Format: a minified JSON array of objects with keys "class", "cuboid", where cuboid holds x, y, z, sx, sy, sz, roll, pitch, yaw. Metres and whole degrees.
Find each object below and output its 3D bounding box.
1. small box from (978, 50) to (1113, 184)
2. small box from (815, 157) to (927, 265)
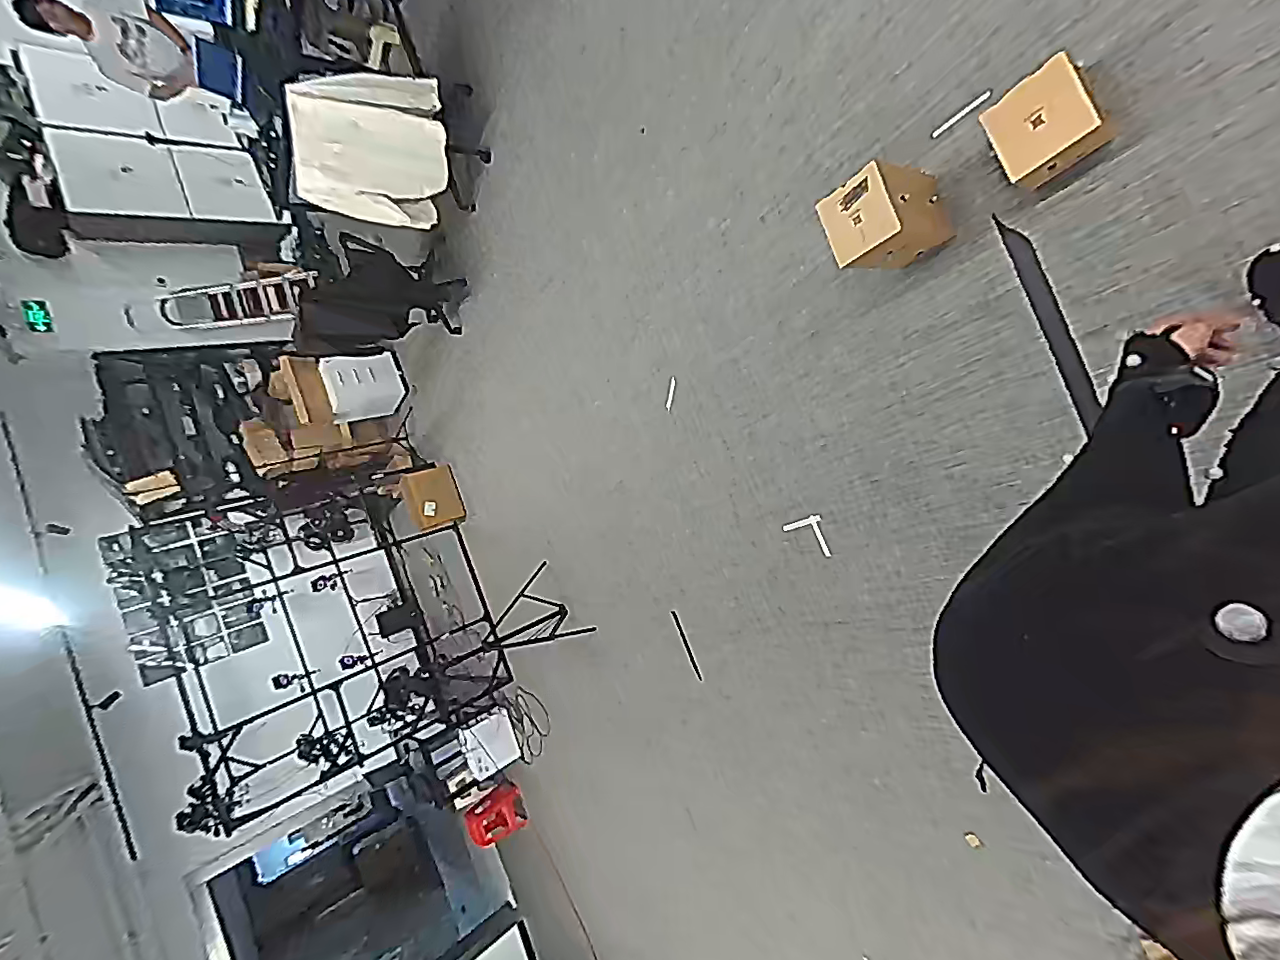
[{"class":"small box","cuboid":[0.882,-0.772,1.174,0.168,0.176,0.179,-29,81,50]},{"class":"small box","cuboid":[0.568,-0.648,1.327,0.168,0.176,0.179,-23,87,52]}]
